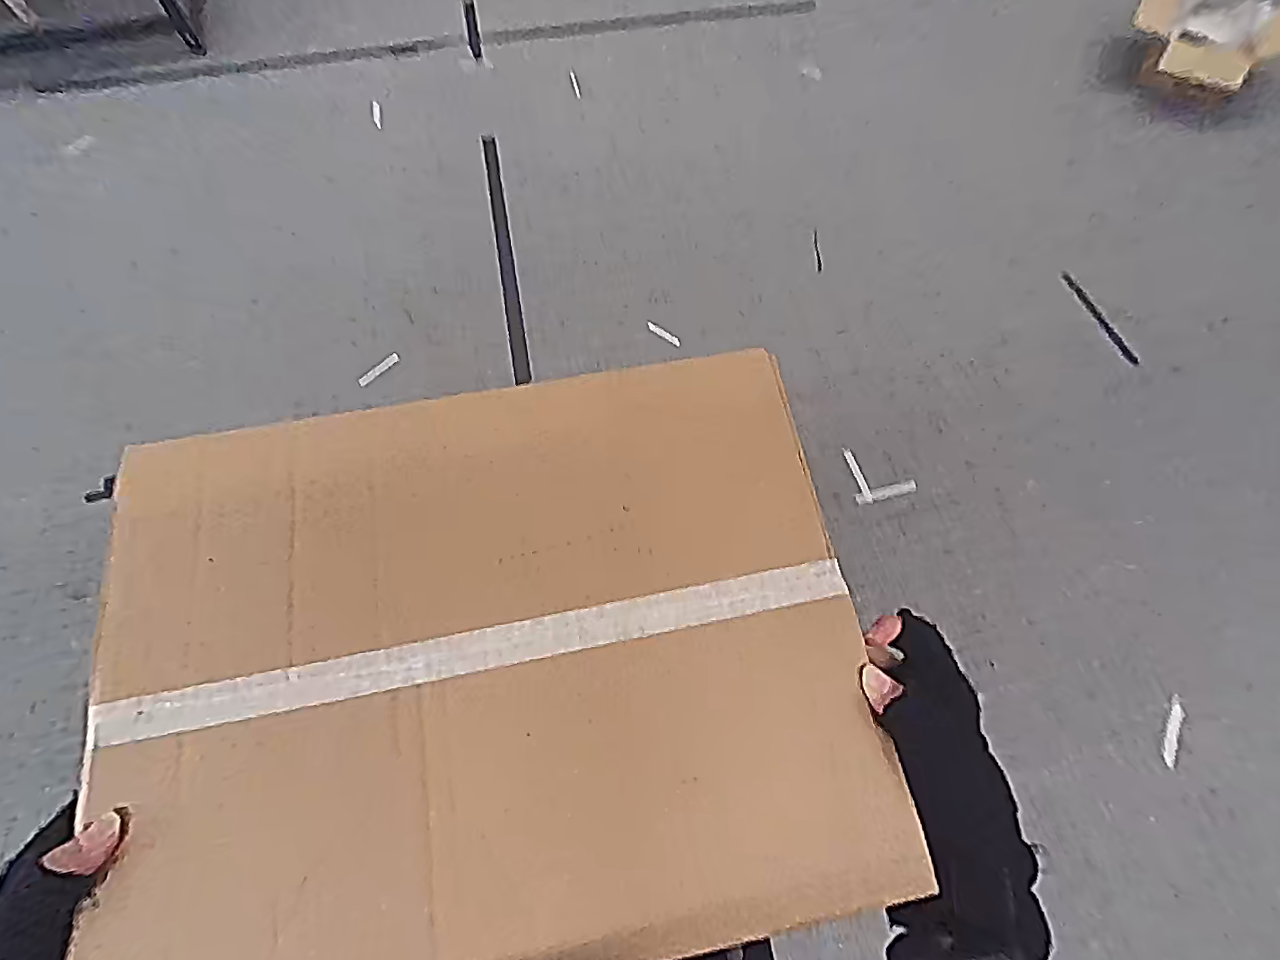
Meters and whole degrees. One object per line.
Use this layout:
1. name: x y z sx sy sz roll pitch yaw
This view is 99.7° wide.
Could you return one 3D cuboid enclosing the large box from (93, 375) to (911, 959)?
1. large box: -0.085 0.151 0.444 0.408 0.320 0.320 -10 71 -5
